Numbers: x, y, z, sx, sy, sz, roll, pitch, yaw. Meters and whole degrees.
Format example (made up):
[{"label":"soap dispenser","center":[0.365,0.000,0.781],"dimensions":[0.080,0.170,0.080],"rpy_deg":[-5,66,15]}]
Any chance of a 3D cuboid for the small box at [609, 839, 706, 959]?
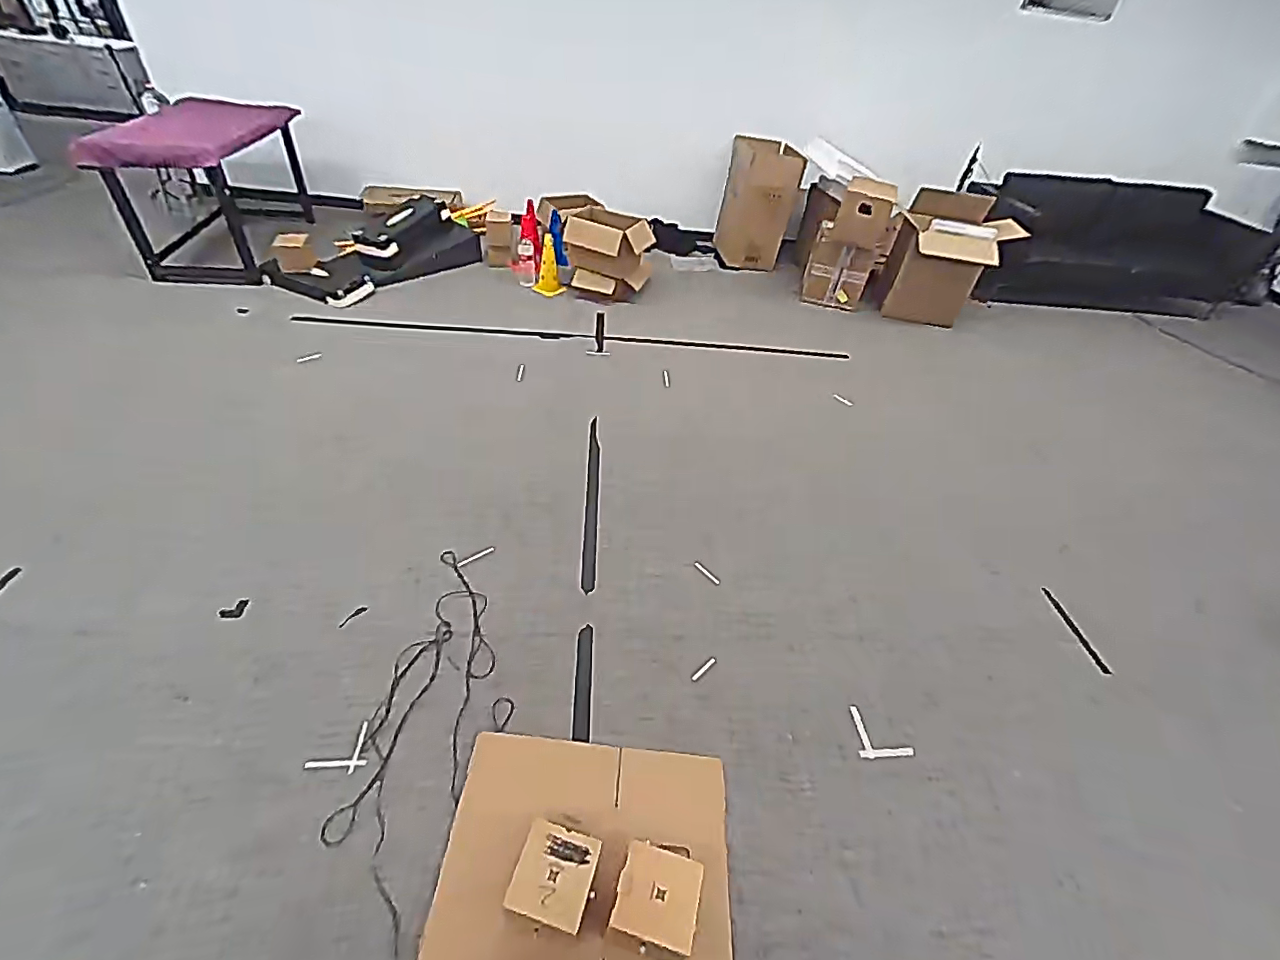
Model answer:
[{"label":"small box","center":[0.037,0.956,1.228],"dimensions":[0.179,0.176,0.168],"rpy_deg":[15,42,8]}]
